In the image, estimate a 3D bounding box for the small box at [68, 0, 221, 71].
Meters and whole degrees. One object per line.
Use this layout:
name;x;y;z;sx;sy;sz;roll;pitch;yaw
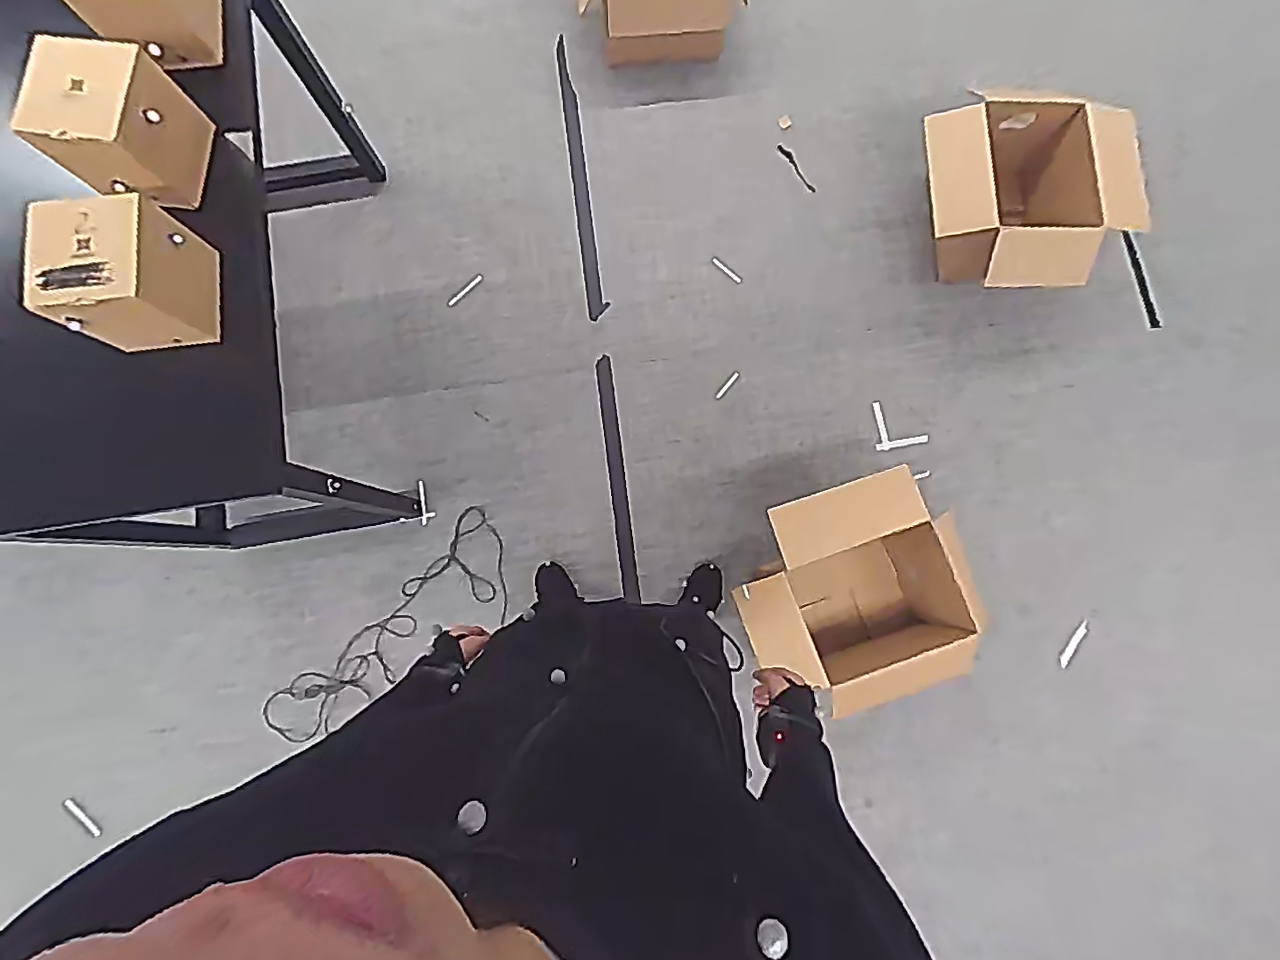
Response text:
small box;-0.892;-0.881;0.967;0.168;0.176;0.179;-7;84;-1

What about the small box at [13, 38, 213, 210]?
small box;-0.887;-0.603;0.930;0.168;0.176;0.179;4;83;0
